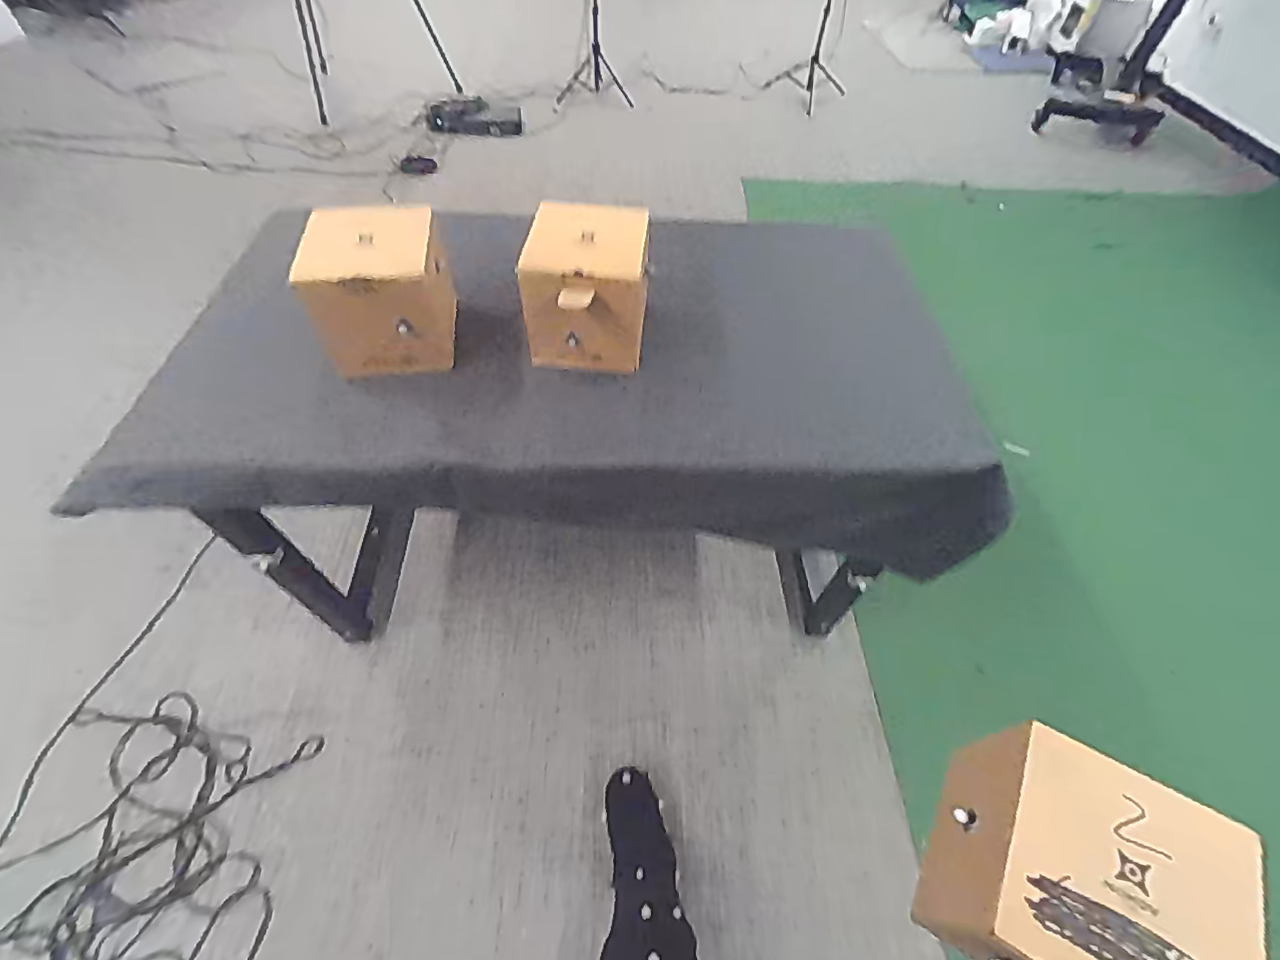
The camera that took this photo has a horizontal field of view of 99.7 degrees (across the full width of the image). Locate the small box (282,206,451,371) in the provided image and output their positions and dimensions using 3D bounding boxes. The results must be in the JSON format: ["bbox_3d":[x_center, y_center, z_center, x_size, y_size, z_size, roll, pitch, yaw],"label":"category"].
[{"bbox_3d":[-0.378,-0.272,0.787,0.168,0.176,0.179,-5,53,-9],"label":"small box"}]

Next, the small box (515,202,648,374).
[{"bbox_3d":[-0.081,-0.287,0.815,0.168,0.176,0.179,5,54,0],"label":"small box"}]
